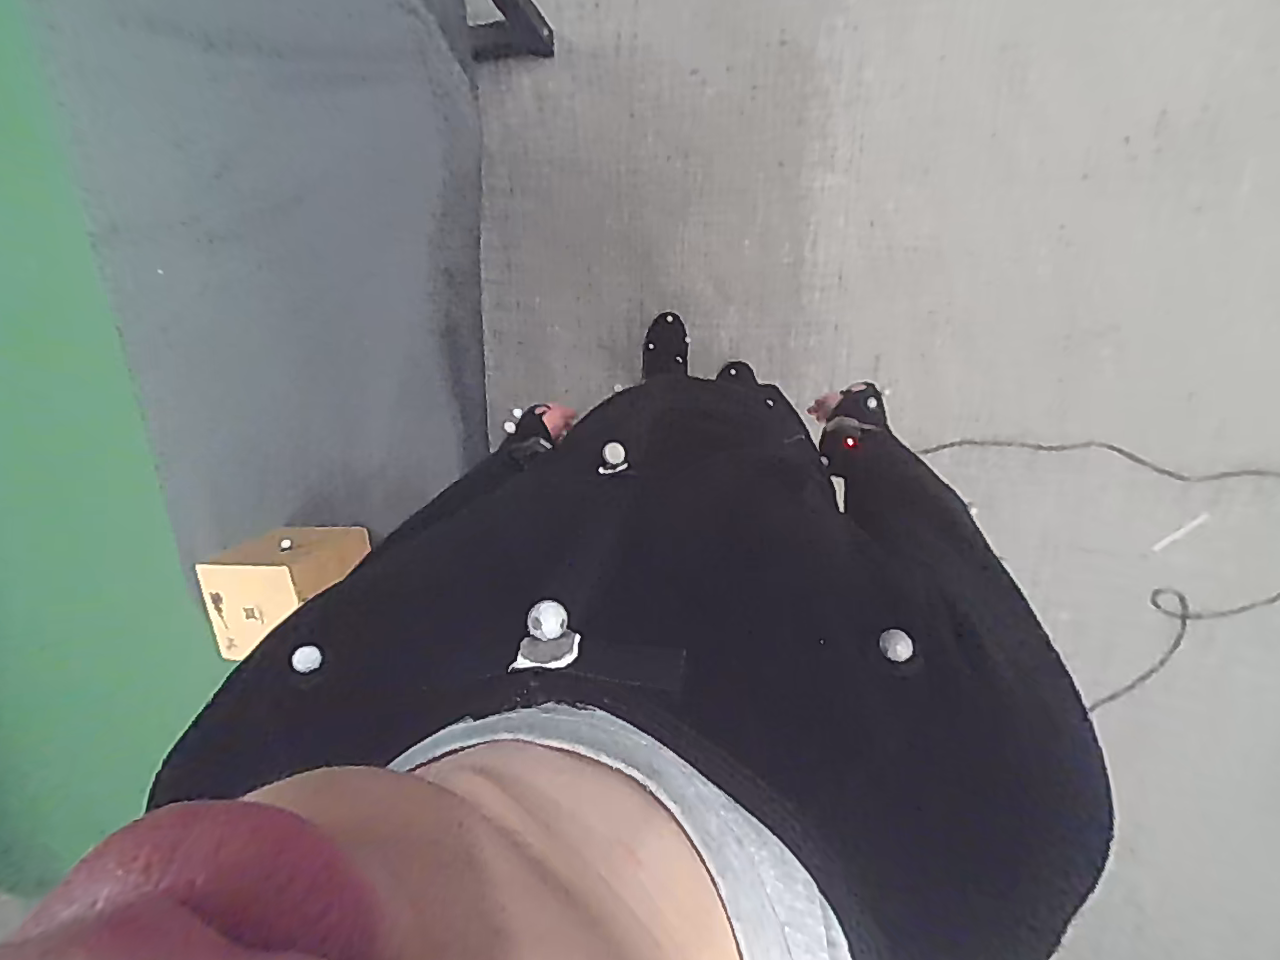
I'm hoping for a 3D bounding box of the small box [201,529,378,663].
[{"bbox_3d":[-0.568,0.186,0.907,0.179,0.176,0.168,-2,105,10],"label":"small box"}]
